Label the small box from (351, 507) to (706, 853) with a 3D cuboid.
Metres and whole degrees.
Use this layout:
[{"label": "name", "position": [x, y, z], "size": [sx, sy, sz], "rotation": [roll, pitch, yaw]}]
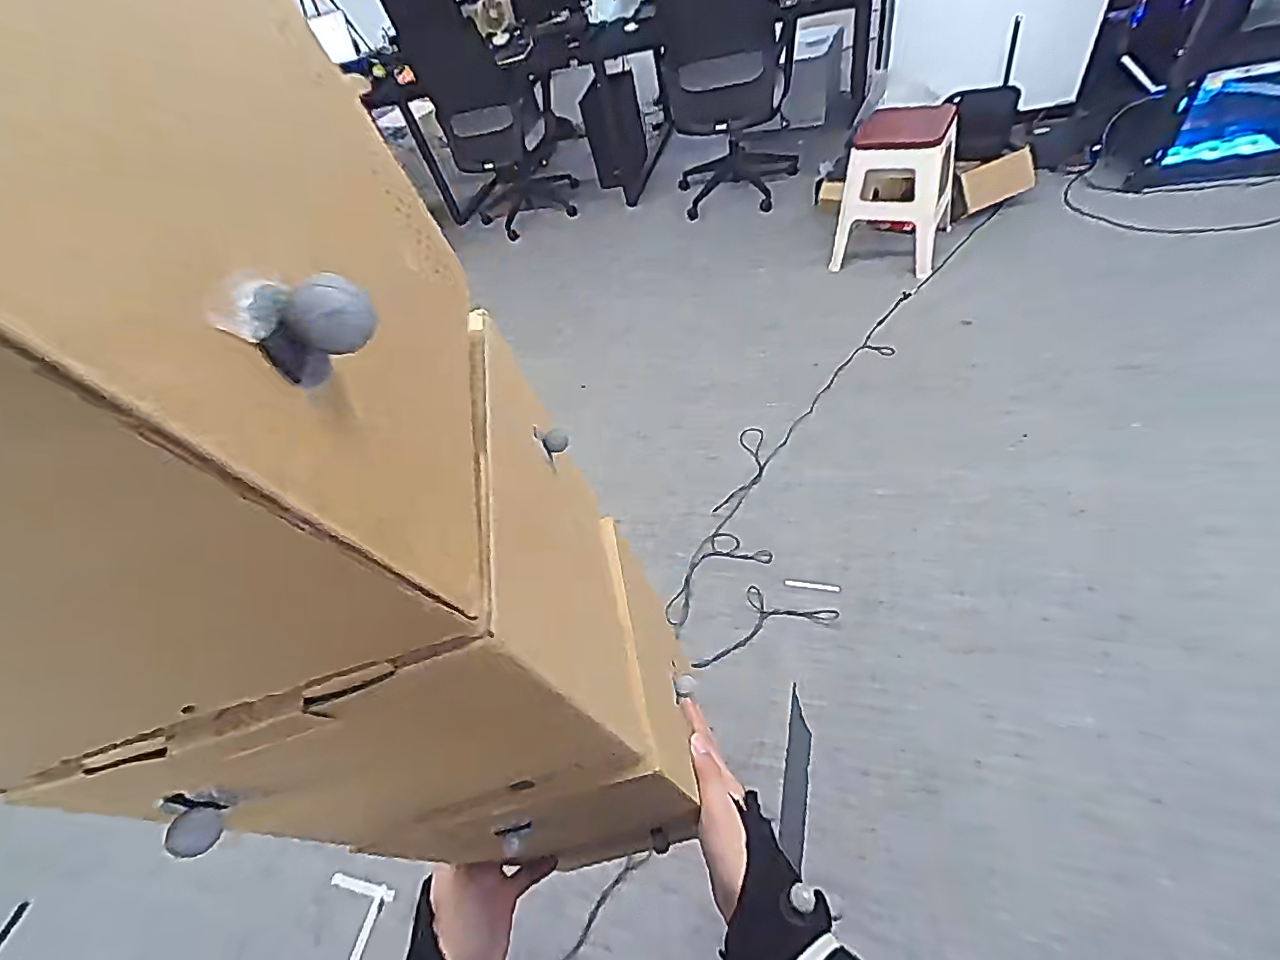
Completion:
[{"label": "small box", "position": [-0.065, 0.151, 0.391], "size": [0.179, 0.176, 0.168], "rotation": [-17, 50, 4]}]
